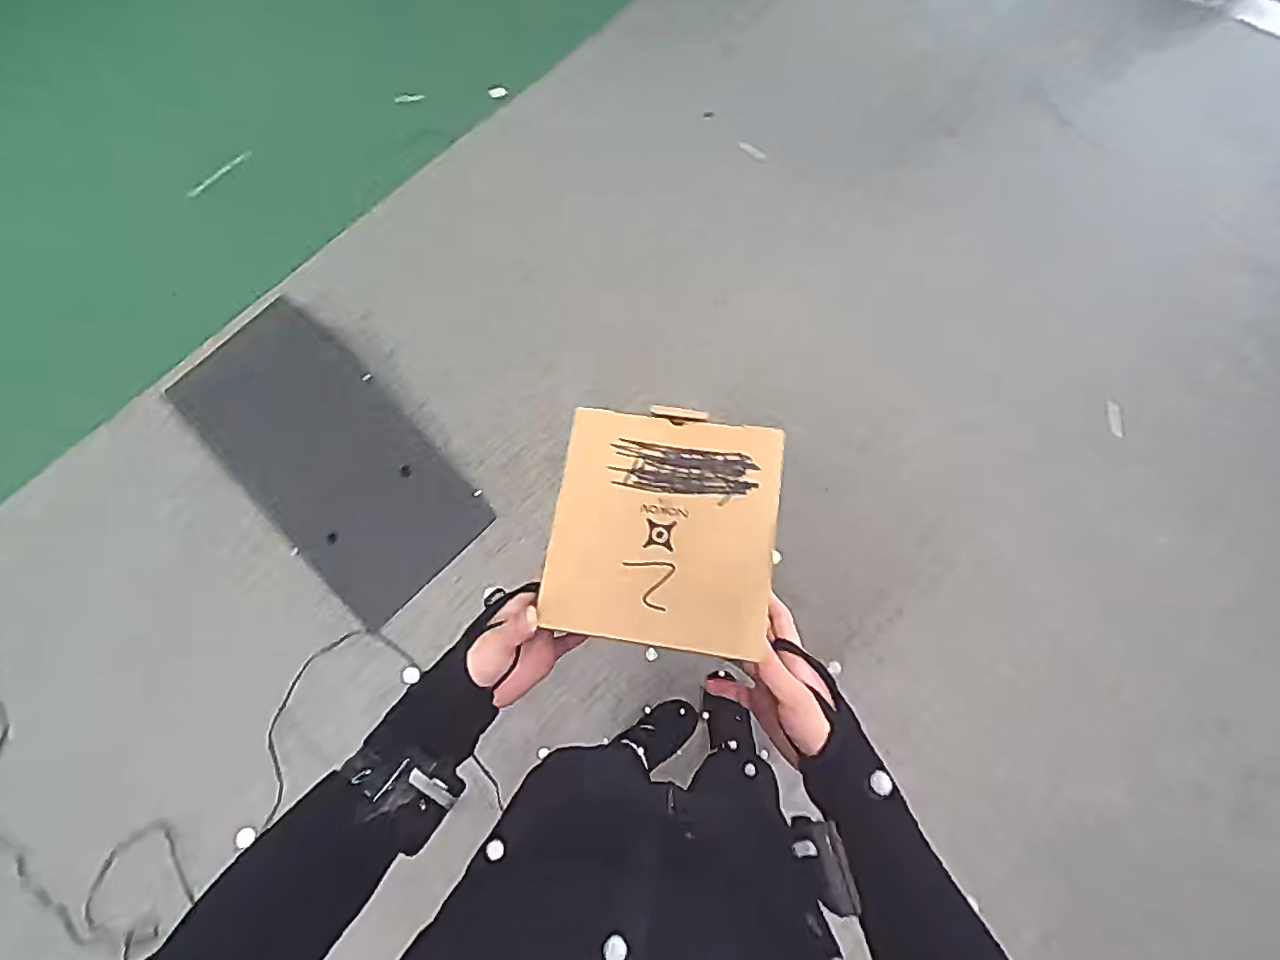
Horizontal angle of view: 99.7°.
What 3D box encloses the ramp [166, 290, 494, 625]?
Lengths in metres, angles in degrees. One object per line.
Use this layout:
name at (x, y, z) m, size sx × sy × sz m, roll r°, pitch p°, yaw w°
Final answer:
ramp at (-0.944, -0.092, 1.646) m, size 0.991 × 0.206 × 0.509 m, roll 43°, pitch 82°, yaw 16°
